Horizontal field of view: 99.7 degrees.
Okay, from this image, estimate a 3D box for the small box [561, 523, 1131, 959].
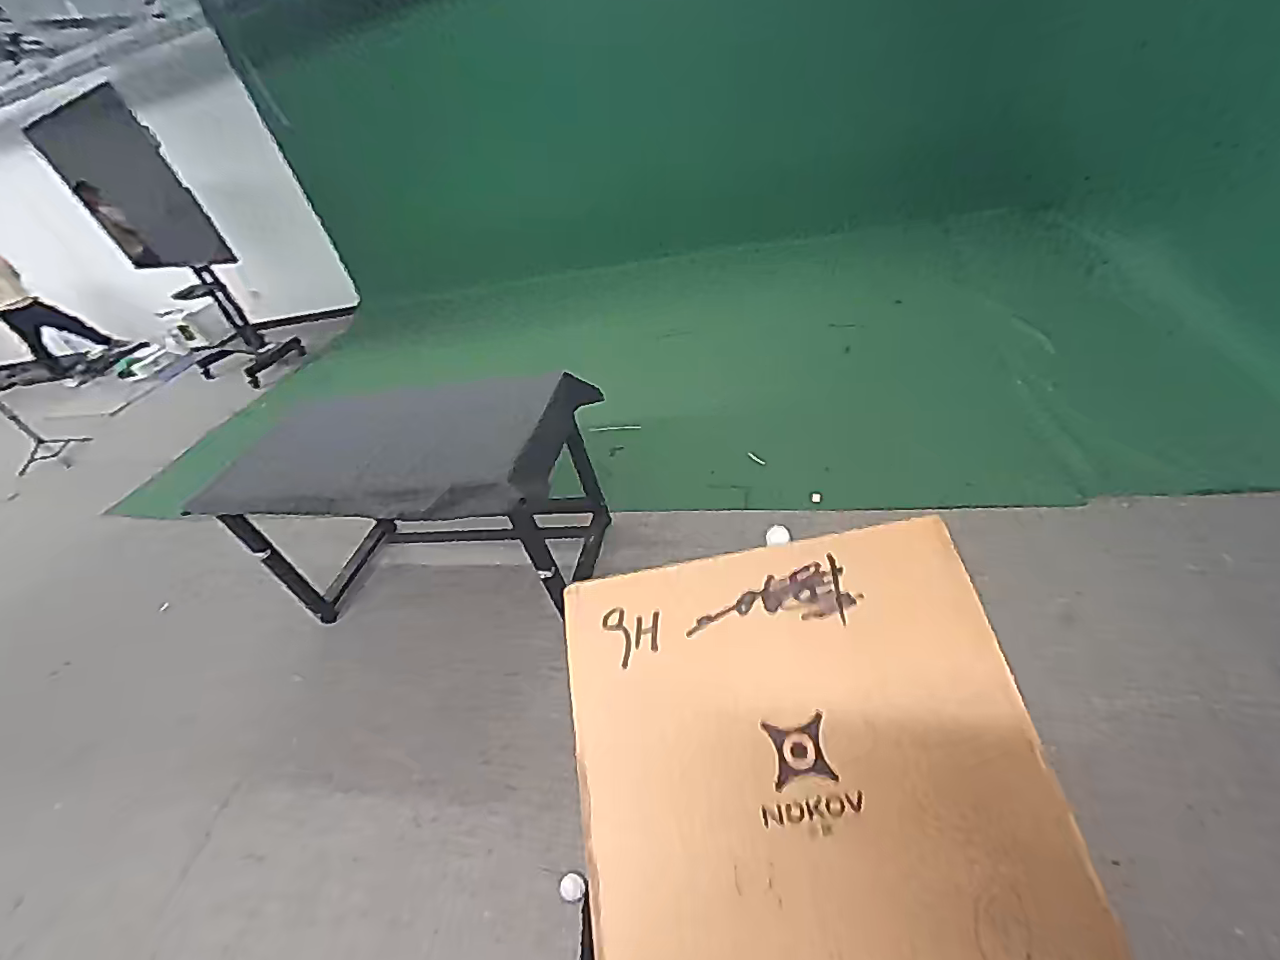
[{"bbox_3d":[0.068,0.139,0.259,0.168,0.176,0.179,-11,66,3],"label":"small box"}]
